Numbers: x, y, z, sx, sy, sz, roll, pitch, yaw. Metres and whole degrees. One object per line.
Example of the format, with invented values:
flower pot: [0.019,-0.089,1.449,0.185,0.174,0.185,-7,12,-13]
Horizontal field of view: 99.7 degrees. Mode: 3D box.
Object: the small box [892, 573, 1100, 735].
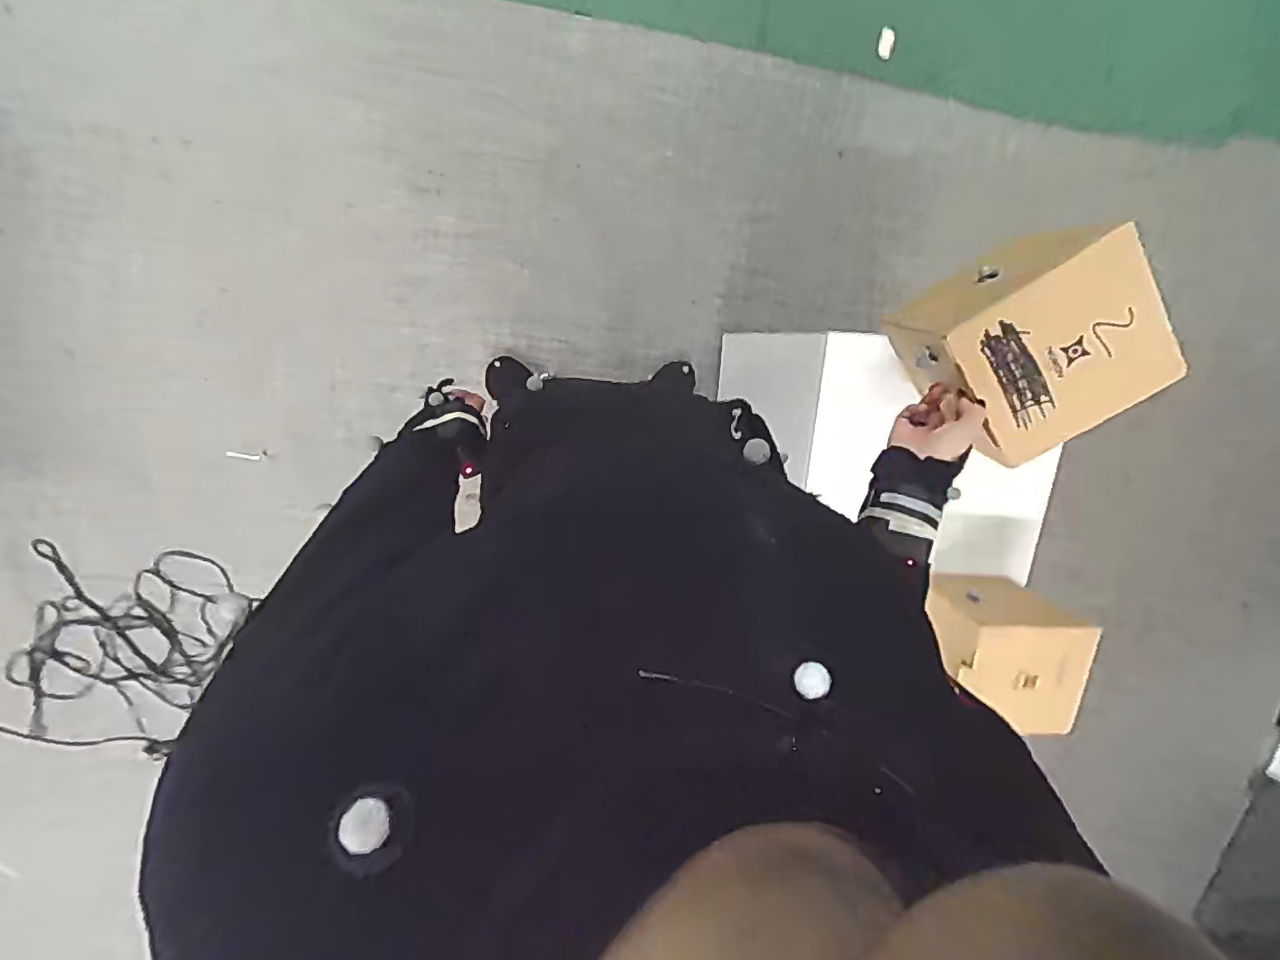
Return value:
small box: [0.503,0.246,0.793,0.179,0.176,0.168,2,105,-8]
